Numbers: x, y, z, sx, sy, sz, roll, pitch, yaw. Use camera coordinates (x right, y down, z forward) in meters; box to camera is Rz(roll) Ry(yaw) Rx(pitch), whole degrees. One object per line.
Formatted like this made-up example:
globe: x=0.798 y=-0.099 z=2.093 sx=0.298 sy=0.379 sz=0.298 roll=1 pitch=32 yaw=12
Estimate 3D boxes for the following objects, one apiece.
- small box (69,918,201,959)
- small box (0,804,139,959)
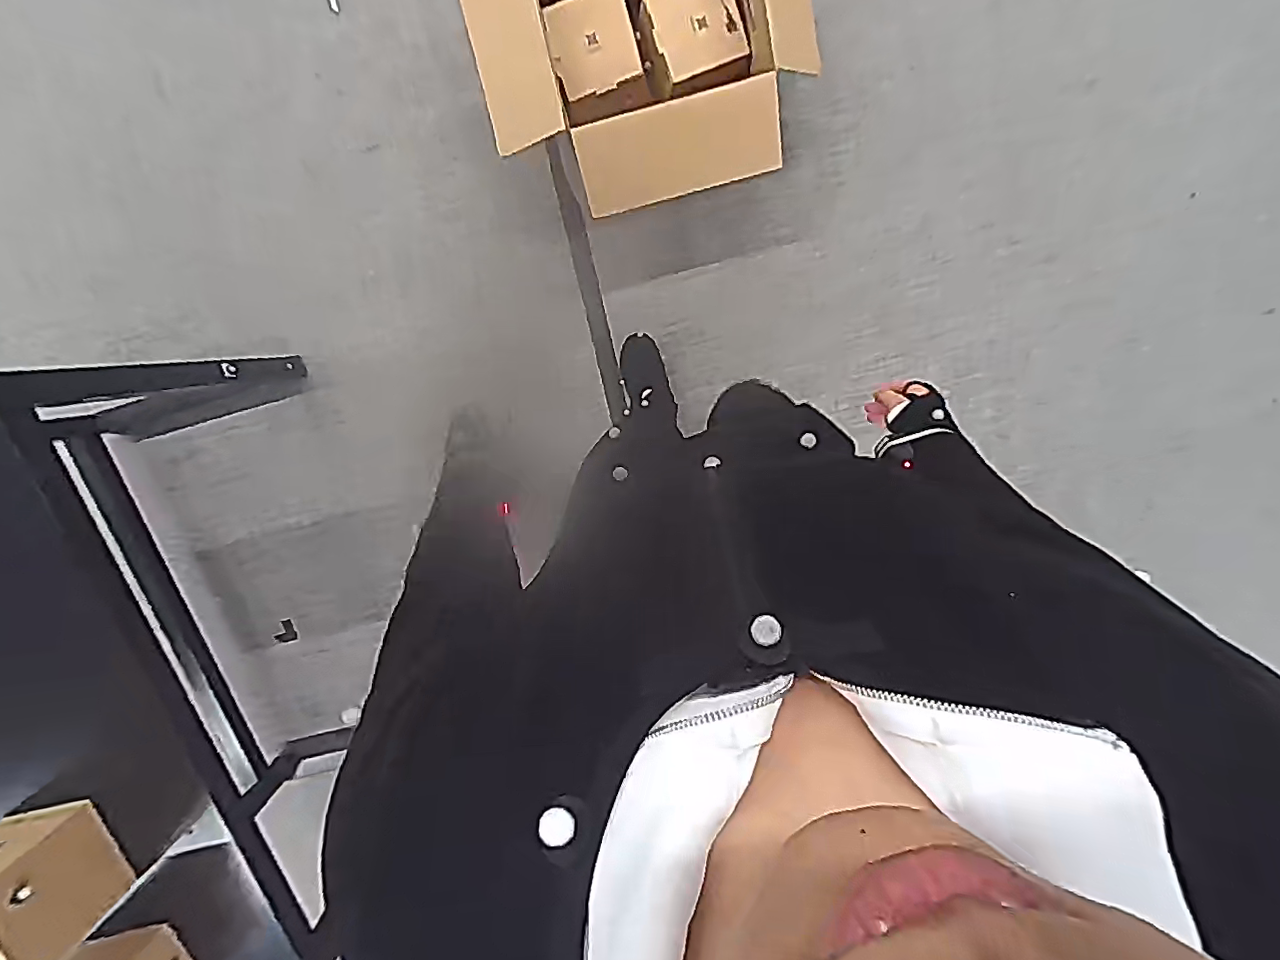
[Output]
small box: x=-0.882 y=0.885 z=0.899 sx=0.179 sy=0.176 sz=0.168 roll=-16 pitch=104 yaw=4
small box: x=-0.952 y=0.635 z=0.834 sx=0.168 sy=0.176 sz=0.179 roll=-14 pitch=104 yaw=5
